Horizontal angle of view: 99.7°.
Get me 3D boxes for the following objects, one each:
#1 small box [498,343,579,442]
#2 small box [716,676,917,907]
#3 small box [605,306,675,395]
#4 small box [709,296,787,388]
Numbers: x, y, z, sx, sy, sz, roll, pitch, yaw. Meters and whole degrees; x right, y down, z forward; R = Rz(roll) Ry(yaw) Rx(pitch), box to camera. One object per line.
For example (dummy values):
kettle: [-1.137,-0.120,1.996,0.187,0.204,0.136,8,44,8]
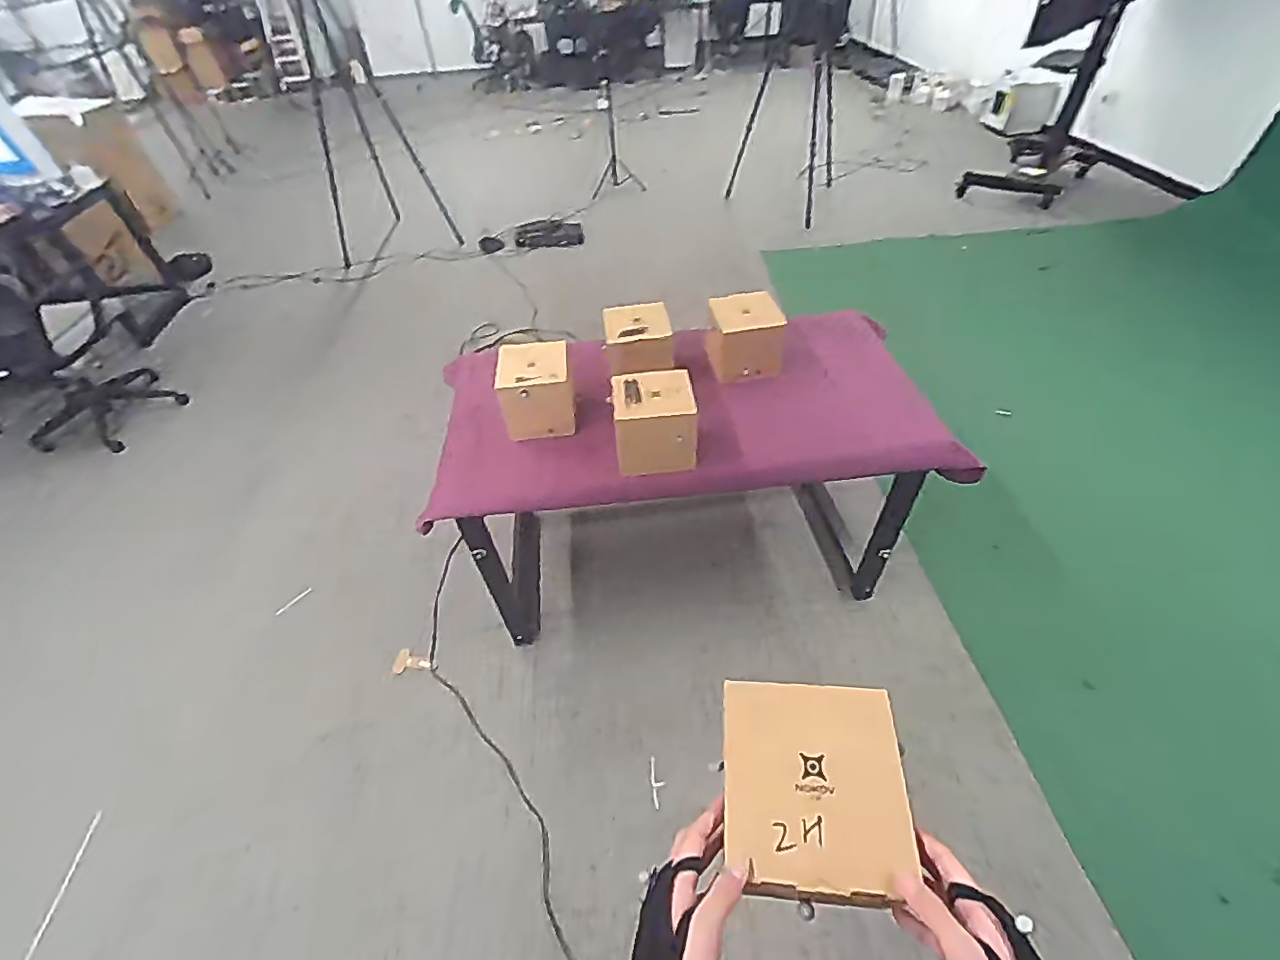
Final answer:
small box: [-0.248,-0.218,1.355,0.168,0.176,0.179,-7,46,0]
small box: [0.166,0.328,0.570,0.168,0.176,0.179,0,50,9]
small box: [0.001,-0.342,1.457,0.168,0.176,0.179,-7,46,-2]
small box: [0.284,-0.373,1.465,0.168,0.176,0.179,-8,47,-2]
